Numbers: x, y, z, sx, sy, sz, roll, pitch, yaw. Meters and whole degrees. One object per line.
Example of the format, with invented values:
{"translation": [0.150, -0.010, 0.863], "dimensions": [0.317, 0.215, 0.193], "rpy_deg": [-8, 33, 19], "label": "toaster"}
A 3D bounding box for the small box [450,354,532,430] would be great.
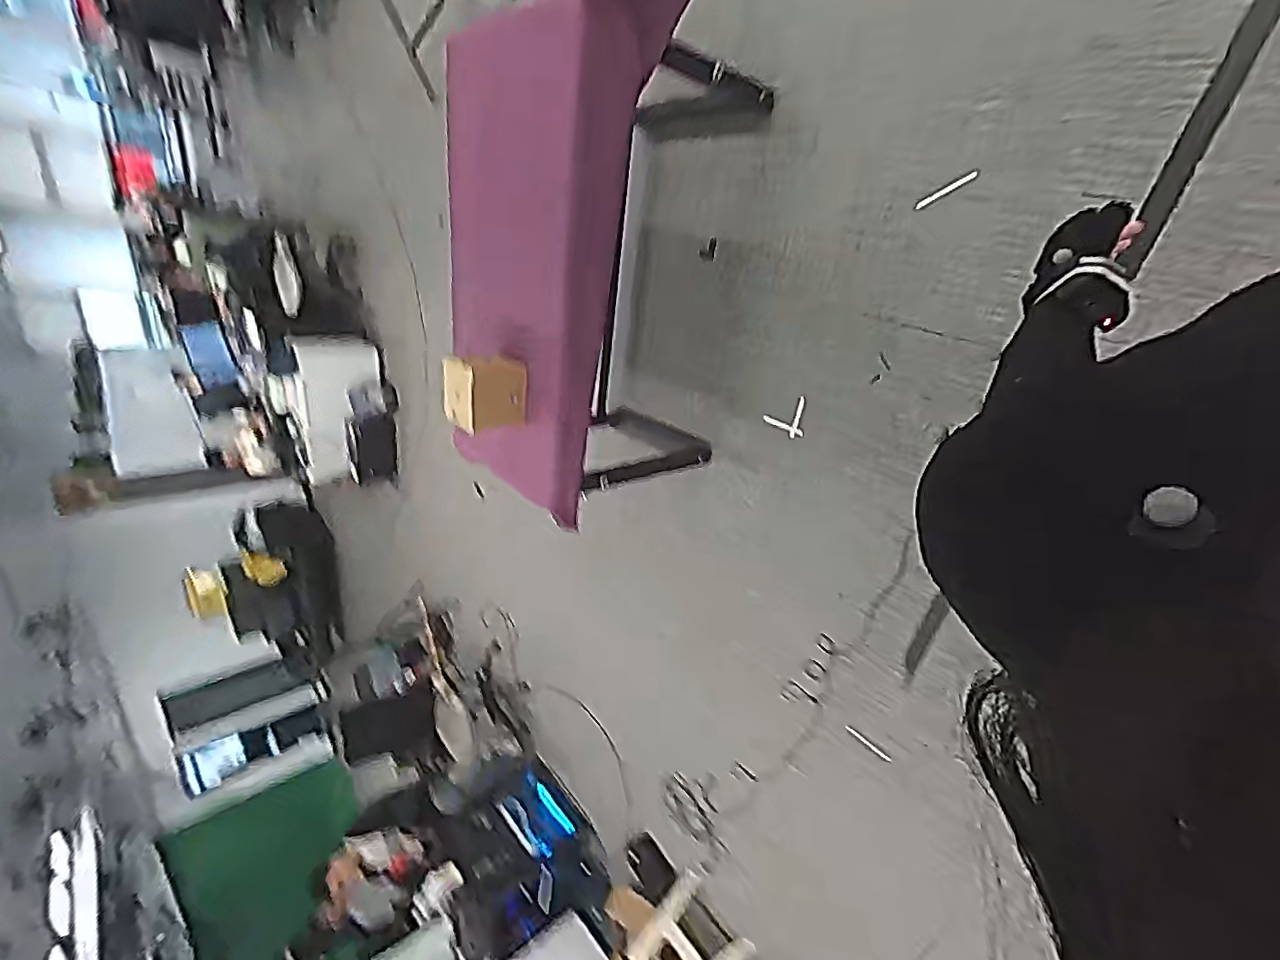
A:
{"translation": [-0.422, -0.255, 1.531], "dimensions": [0.168, 0.176, 0.179], "rpy_deg": [29, 120, 41], "label": "small box"}
